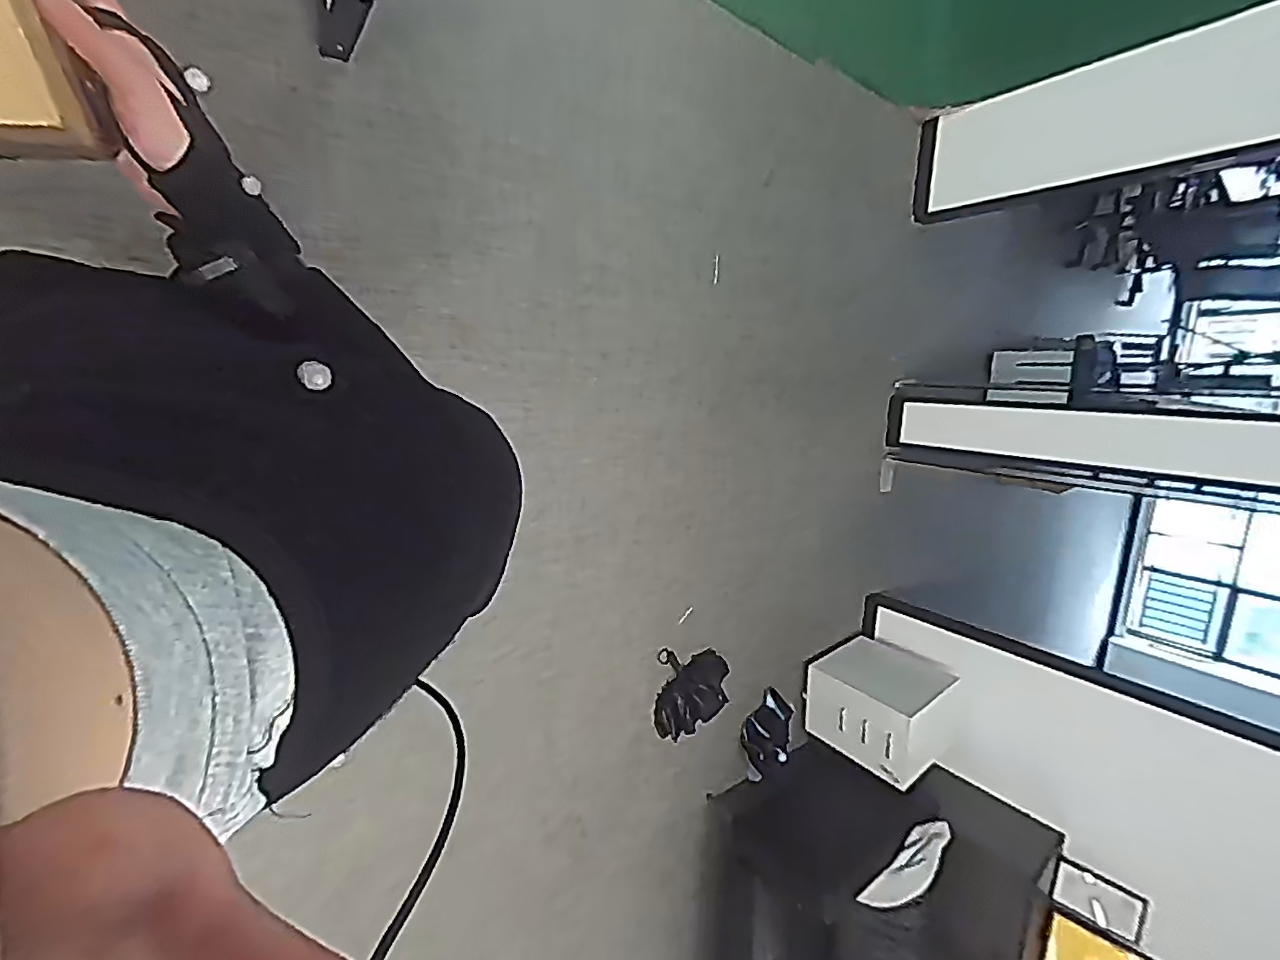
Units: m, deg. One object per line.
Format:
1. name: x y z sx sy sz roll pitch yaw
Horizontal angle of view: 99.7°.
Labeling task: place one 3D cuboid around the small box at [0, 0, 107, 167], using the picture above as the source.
1. small box: -0.403 -0.257 0.253 0.168 0.176 0.179 -19 121 -30
